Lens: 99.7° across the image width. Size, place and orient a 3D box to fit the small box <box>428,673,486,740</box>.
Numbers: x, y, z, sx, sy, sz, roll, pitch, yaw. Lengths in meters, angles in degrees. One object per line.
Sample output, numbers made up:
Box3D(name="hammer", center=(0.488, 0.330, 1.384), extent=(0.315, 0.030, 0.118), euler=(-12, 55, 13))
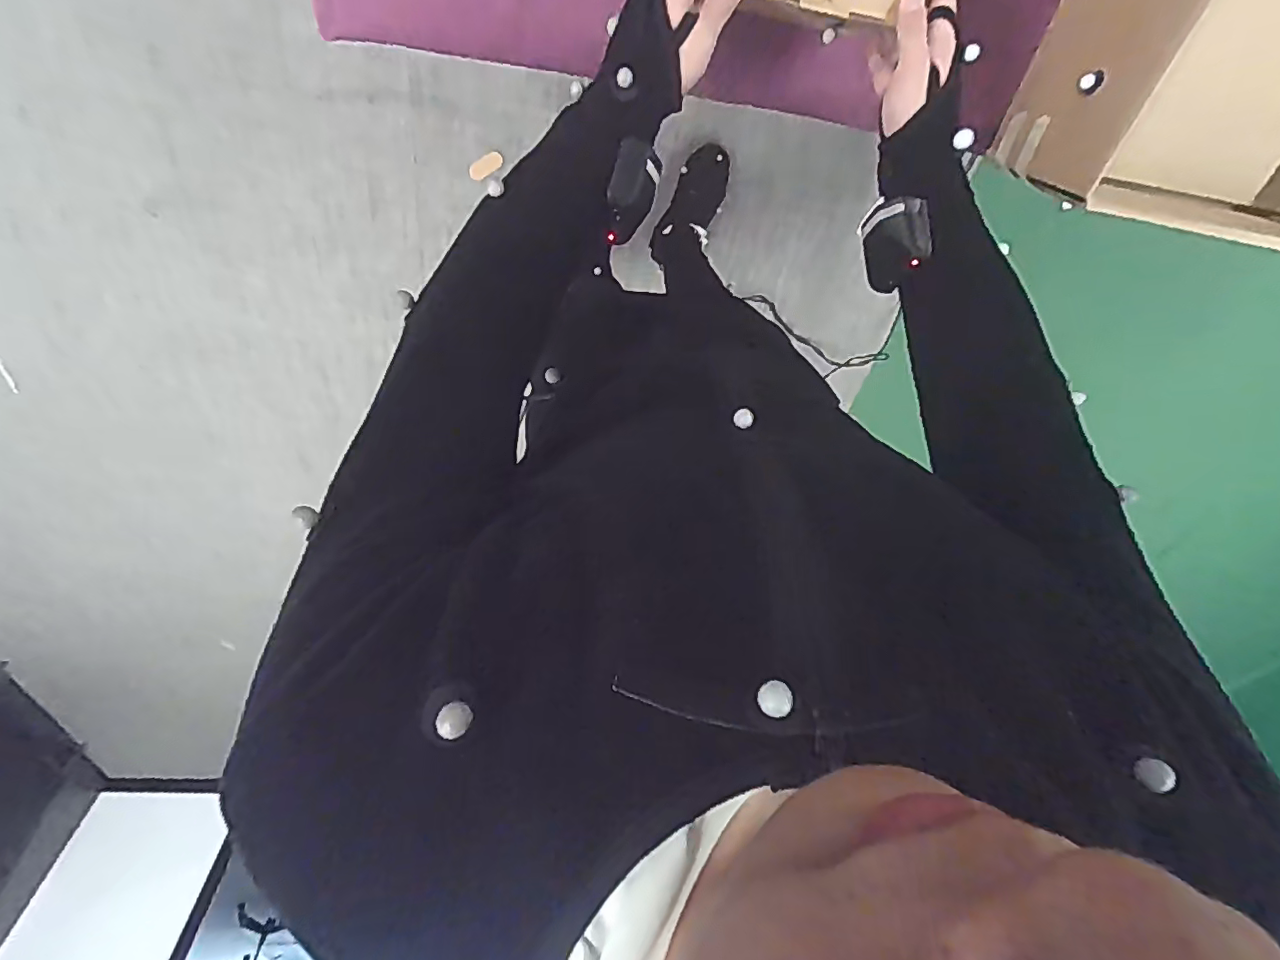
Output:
Box3D(name="small box", center=(-0.694, 0.863, 2.064), extent=(0.168, 0.176, 0.179), euler=(15, 125, -15))

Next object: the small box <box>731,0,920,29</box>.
Box3D(name="small box", center=(0.158, -0.504, 0.451), extent=(0.168, 0.176, 0.179), euler=(6, 128, -9))

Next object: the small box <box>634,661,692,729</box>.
Box3D(name="small box", center=(0.087, 0.826, 2.082), extent=(0.179, 0.176, 0.168), euler=(-20, 127, 12))
